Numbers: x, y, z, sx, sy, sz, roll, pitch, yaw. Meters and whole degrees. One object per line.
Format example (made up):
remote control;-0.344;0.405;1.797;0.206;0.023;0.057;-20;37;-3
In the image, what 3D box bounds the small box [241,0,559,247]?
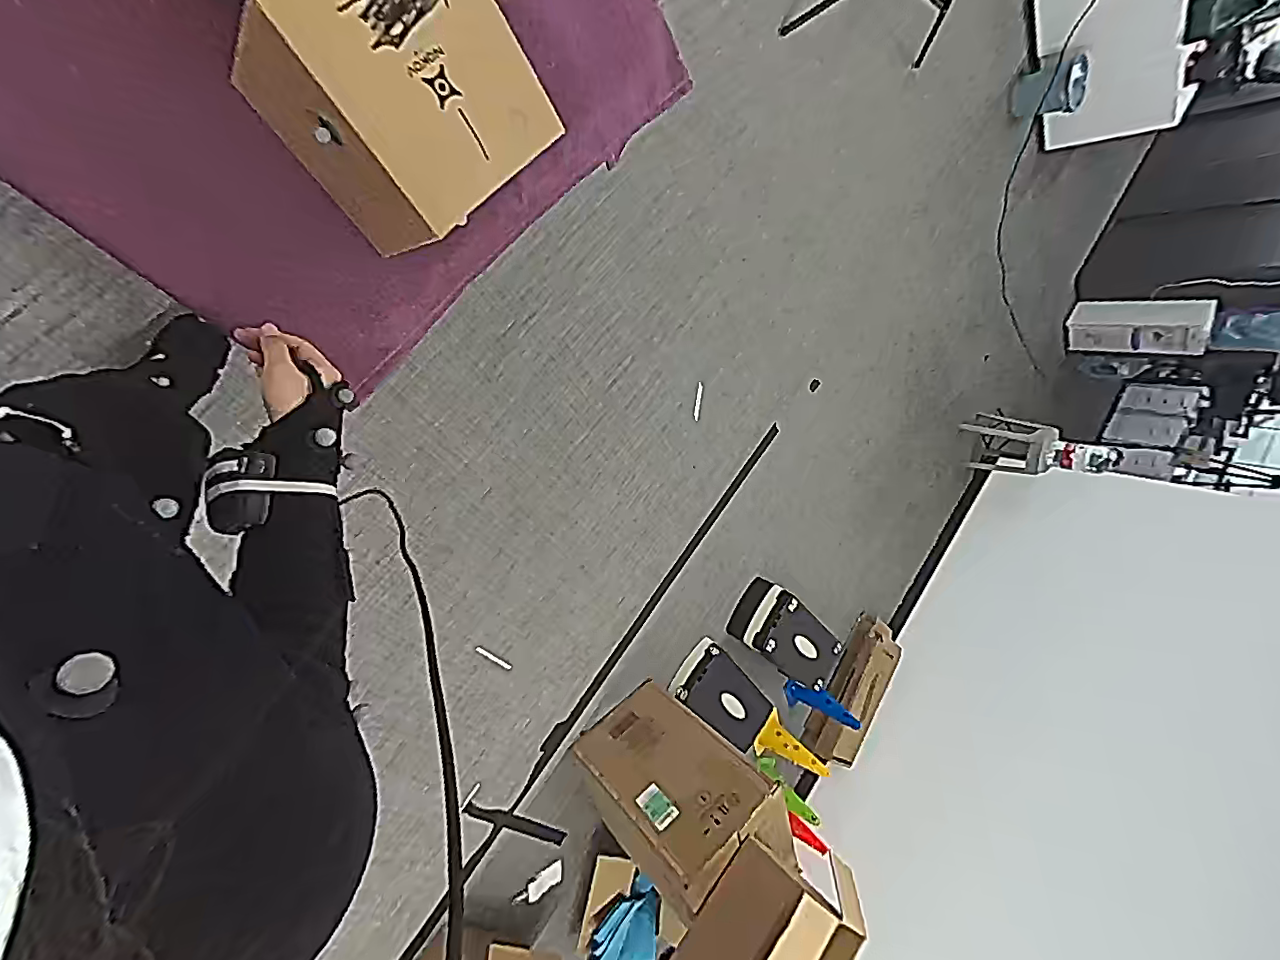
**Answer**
small box;-0.215;-0.336;0.485;0.168;0.176;0.179;-50;129;-18
